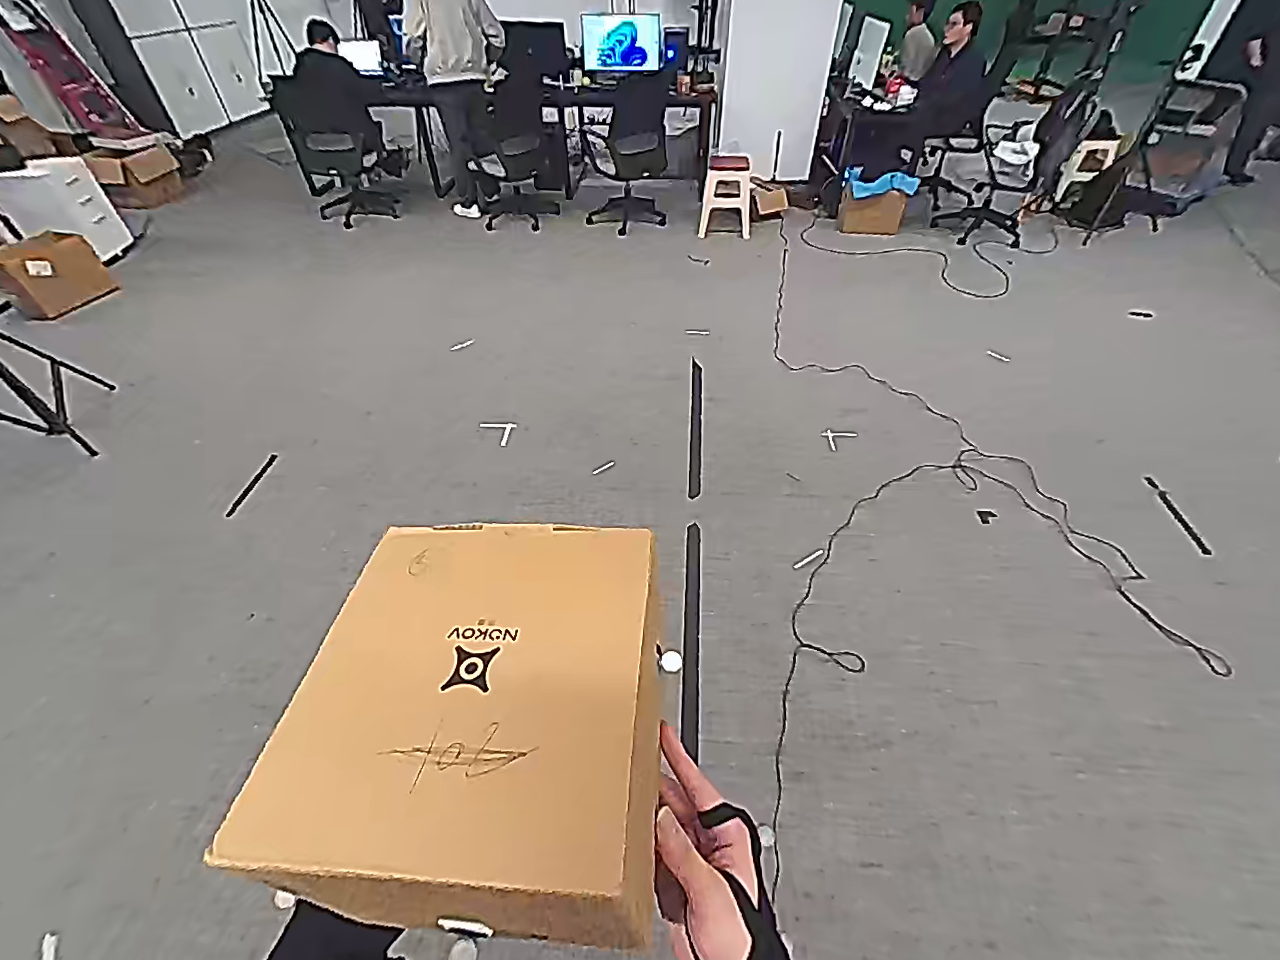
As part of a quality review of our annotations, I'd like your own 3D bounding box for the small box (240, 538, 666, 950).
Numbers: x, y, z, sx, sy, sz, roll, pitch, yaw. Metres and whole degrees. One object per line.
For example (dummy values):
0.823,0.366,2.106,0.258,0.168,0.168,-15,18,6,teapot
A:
-0.073,0.154,0.327,0.168,0.176,0.179,-2,44,7,small box
